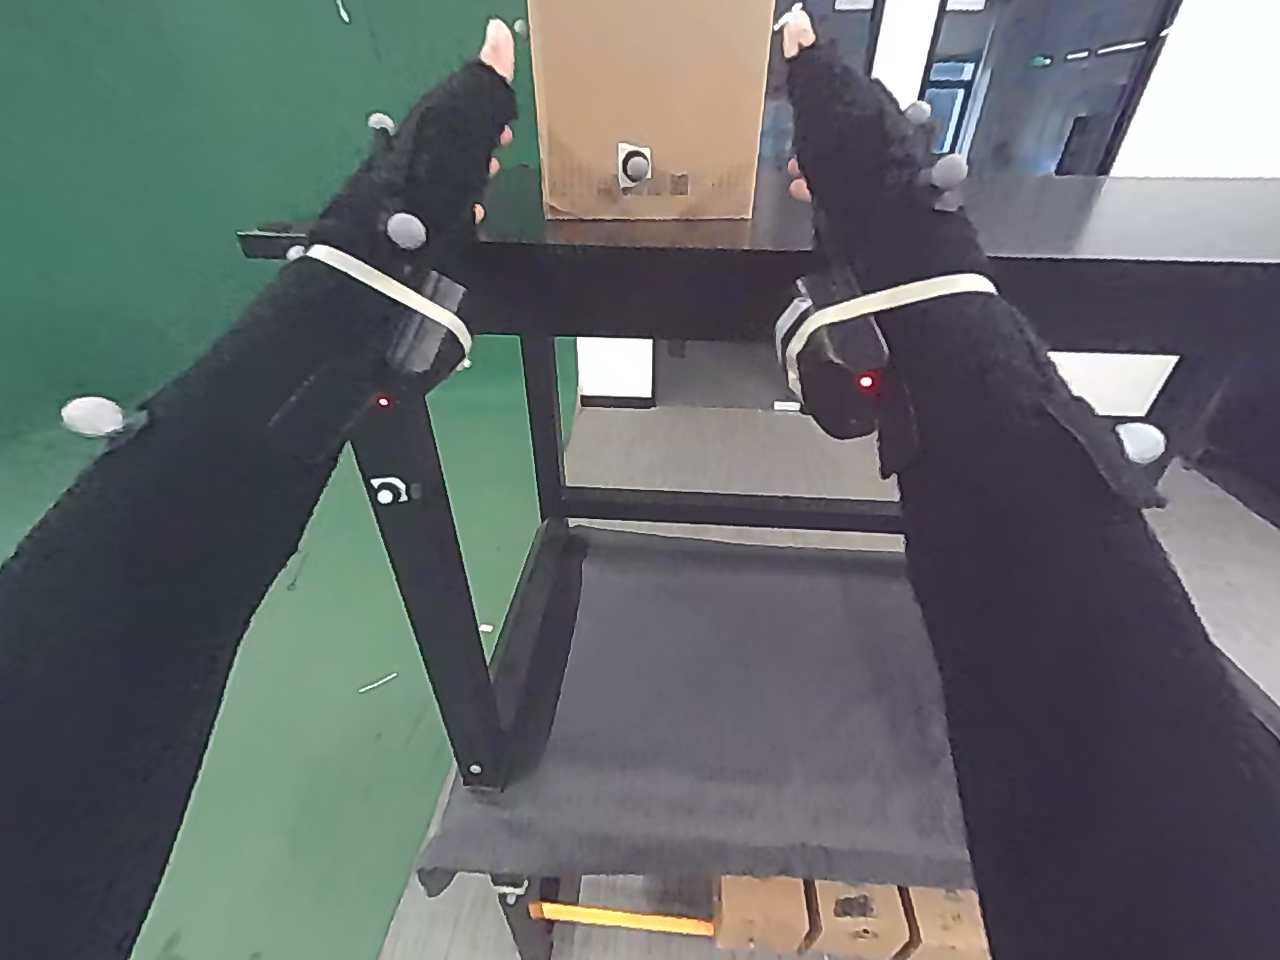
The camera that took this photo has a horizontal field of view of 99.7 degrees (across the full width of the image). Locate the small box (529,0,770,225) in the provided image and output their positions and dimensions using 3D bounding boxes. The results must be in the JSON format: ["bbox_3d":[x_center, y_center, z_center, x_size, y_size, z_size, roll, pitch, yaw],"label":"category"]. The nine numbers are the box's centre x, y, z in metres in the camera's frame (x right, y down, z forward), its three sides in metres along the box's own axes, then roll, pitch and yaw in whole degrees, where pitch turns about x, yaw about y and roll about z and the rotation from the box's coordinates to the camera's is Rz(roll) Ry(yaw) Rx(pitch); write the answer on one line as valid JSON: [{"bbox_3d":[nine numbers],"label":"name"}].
[{"bbox_3d":[-0.003,-0.322,0.456,0.168,0.176,0.179,-3,34,-6],"label":"small box"}]
